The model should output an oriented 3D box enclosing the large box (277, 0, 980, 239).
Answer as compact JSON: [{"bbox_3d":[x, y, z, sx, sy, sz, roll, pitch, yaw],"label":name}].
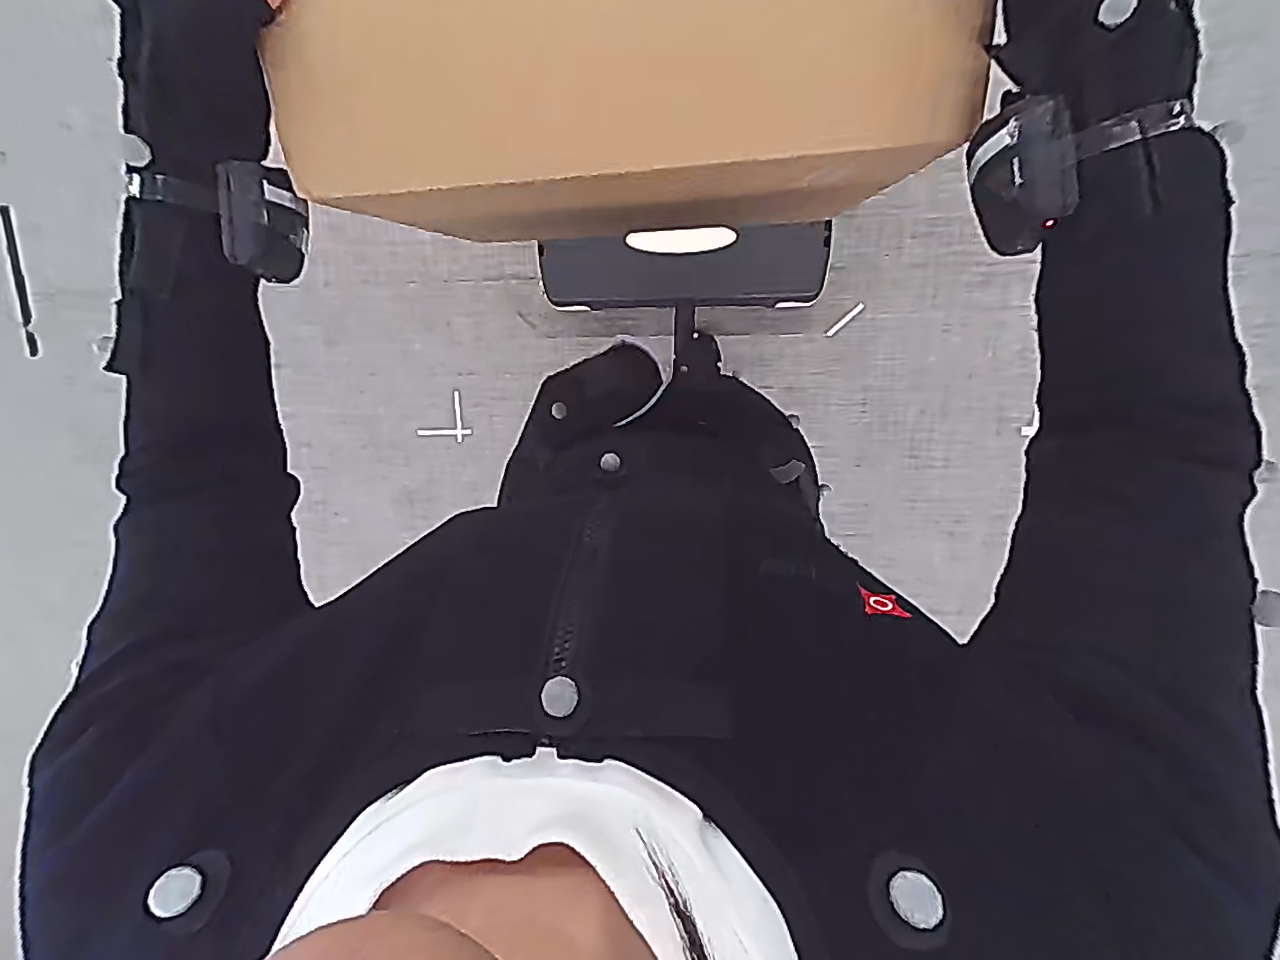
[{"bbox_3d":[-0.009,-0.387,0.423,0.408,0.320,0.320,-2,109,6],"label":"large box"}]
